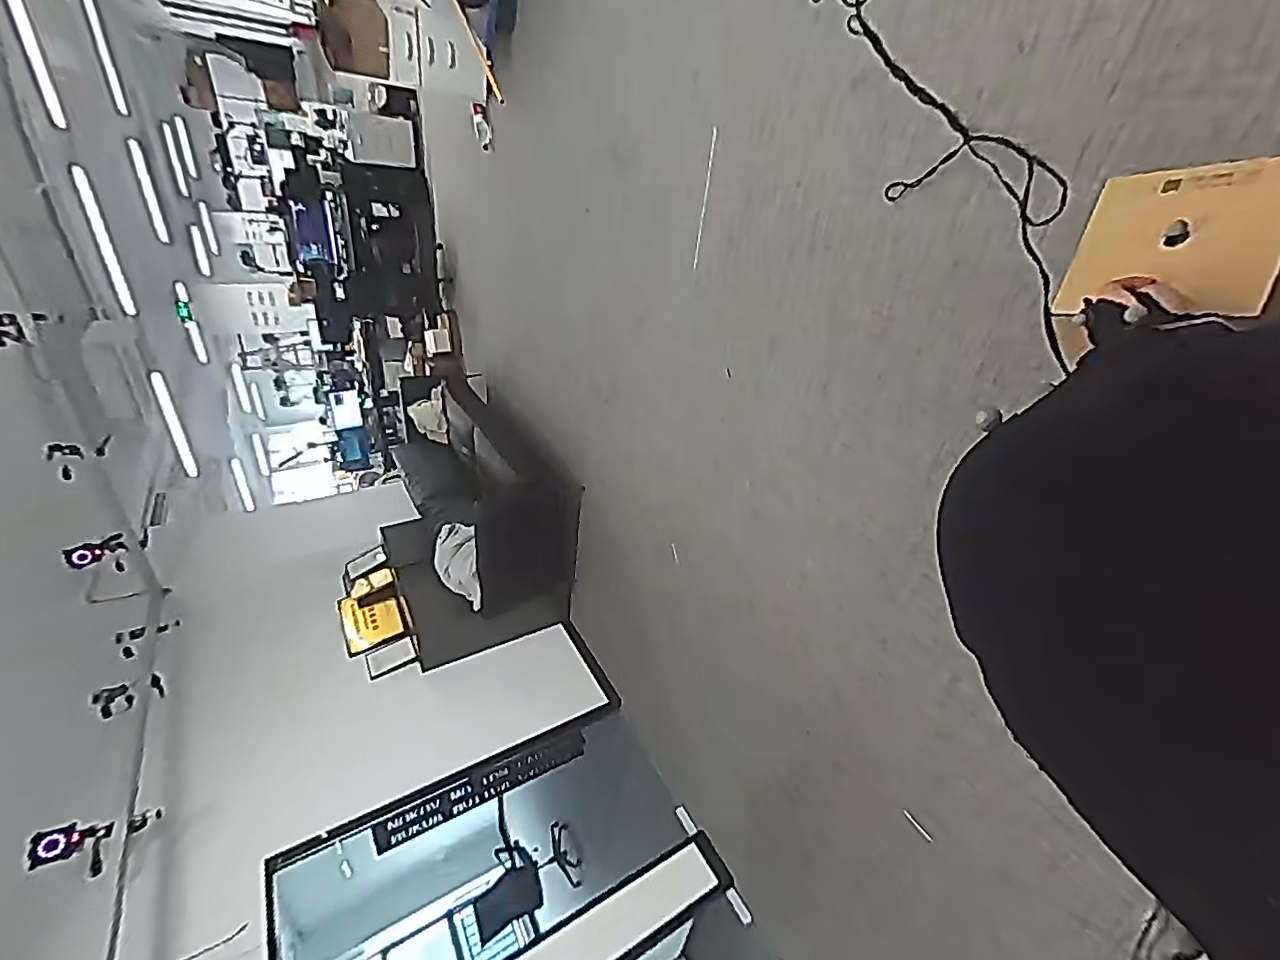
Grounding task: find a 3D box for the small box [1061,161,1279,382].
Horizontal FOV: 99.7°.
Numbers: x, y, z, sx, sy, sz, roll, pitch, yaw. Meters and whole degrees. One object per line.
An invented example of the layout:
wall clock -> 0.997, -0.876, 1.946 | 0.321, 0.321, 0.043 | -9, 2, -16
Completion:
small box -> 0.614, -0.227, 0.607 | 0.168, 0.179, 0.176 | 22, 91, 50
